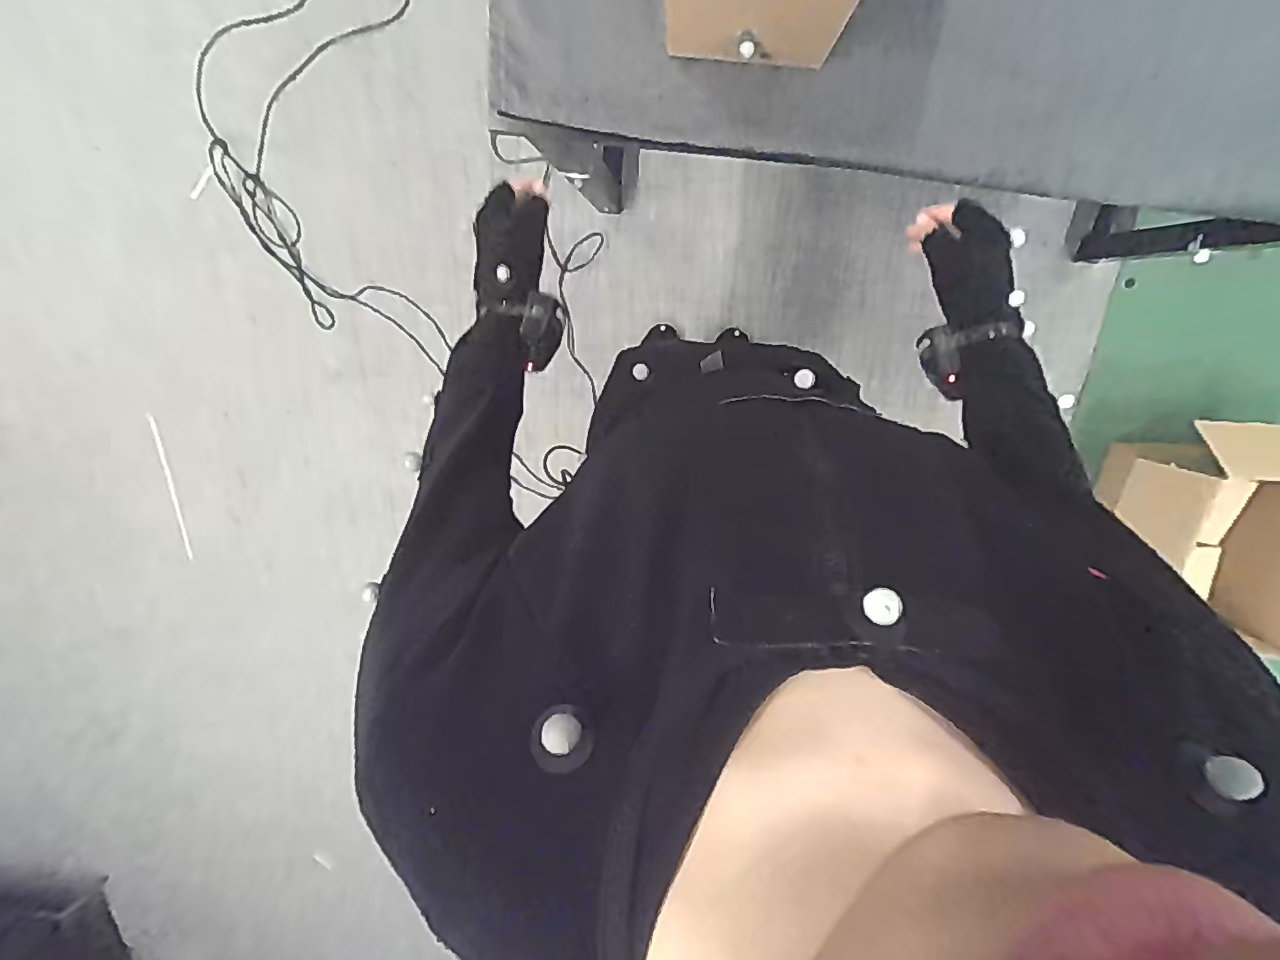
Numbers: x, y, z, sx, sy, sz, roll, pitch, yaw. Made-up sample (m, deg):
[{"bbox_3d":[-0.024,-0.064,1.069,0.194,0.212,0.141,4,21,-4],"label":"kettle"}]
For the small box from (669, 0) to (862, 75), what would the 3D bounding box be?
[{"bbox_3d":[0.115,-0.503,0.480,0.168,0.176,0.179,7,107,2],"label":"small box"}]
